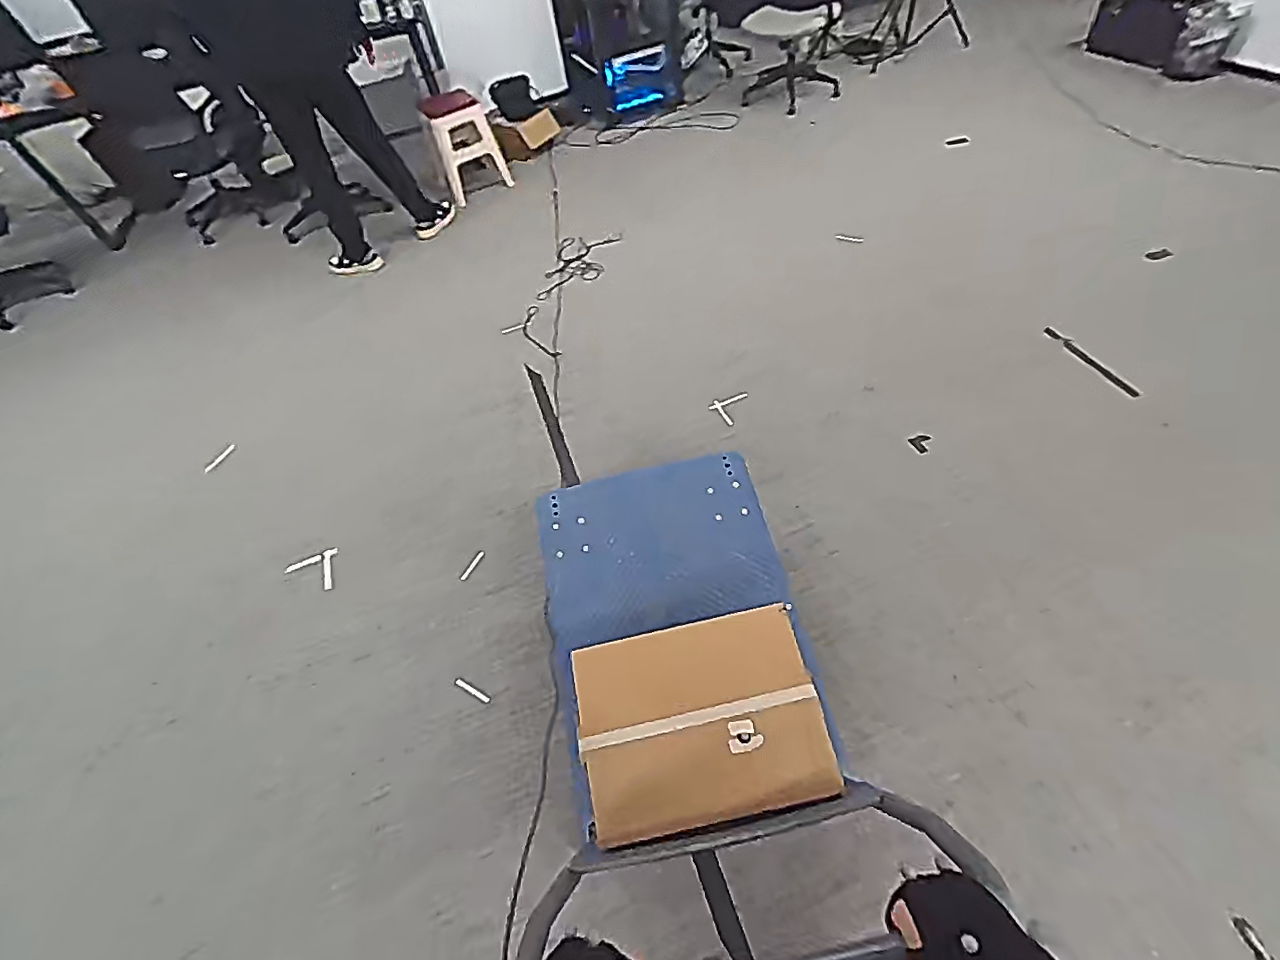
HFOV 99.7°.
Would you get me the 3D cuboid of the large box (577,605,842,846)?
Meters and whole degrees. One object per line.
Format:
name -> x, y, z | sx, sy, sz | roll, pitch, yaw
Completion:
large box -> 0.117, 0.480, 1.072 | 0.408, 0.320, 0.320 | -13, 63, -2
